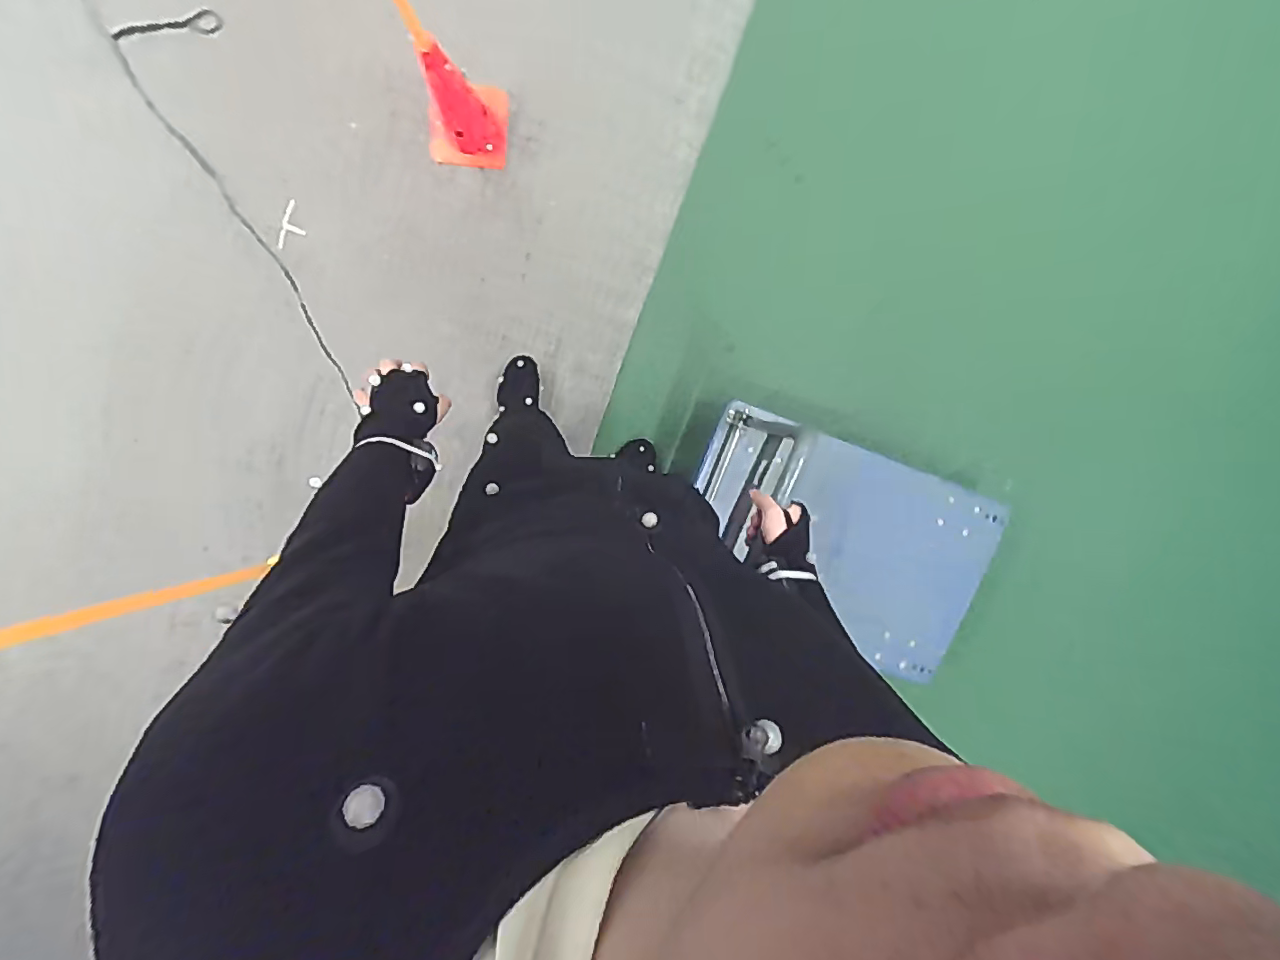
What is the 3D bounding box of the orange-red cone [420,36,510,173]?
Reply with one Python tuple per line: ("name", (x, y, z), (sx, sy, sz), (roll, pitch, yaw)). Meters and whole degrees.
("orange-red cone", (-0.445, -0.917, 1.281), (0.198, 0.360, 0.199), (5, 97, -4))
